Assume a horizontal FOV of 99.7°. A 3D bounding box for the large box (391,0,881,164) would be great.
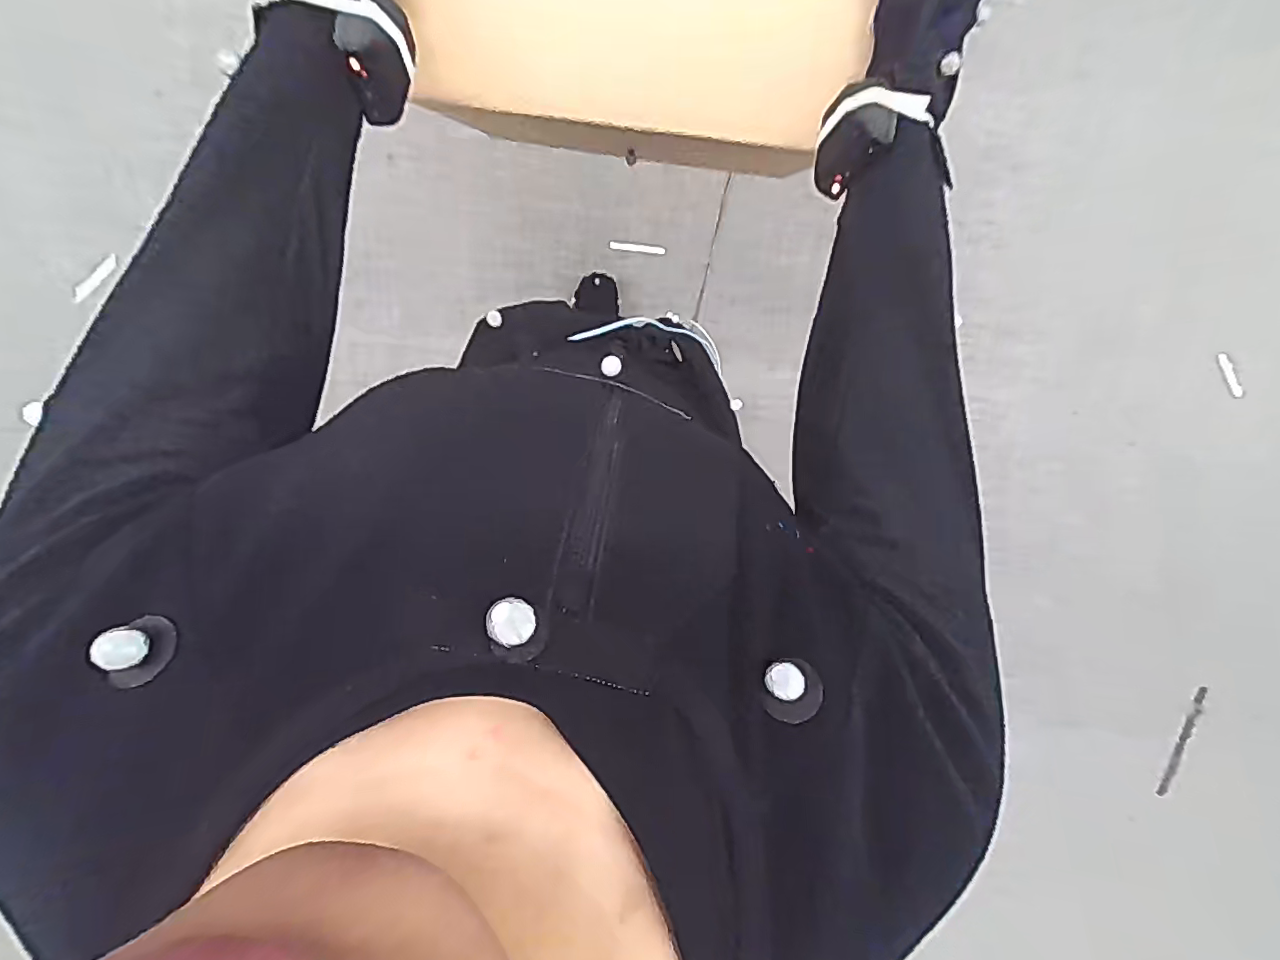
[{"bbox_3d":[0.012,-0.520,0.537,0.408,0.320,0.320,8,115,0],"label":"large box"}]
